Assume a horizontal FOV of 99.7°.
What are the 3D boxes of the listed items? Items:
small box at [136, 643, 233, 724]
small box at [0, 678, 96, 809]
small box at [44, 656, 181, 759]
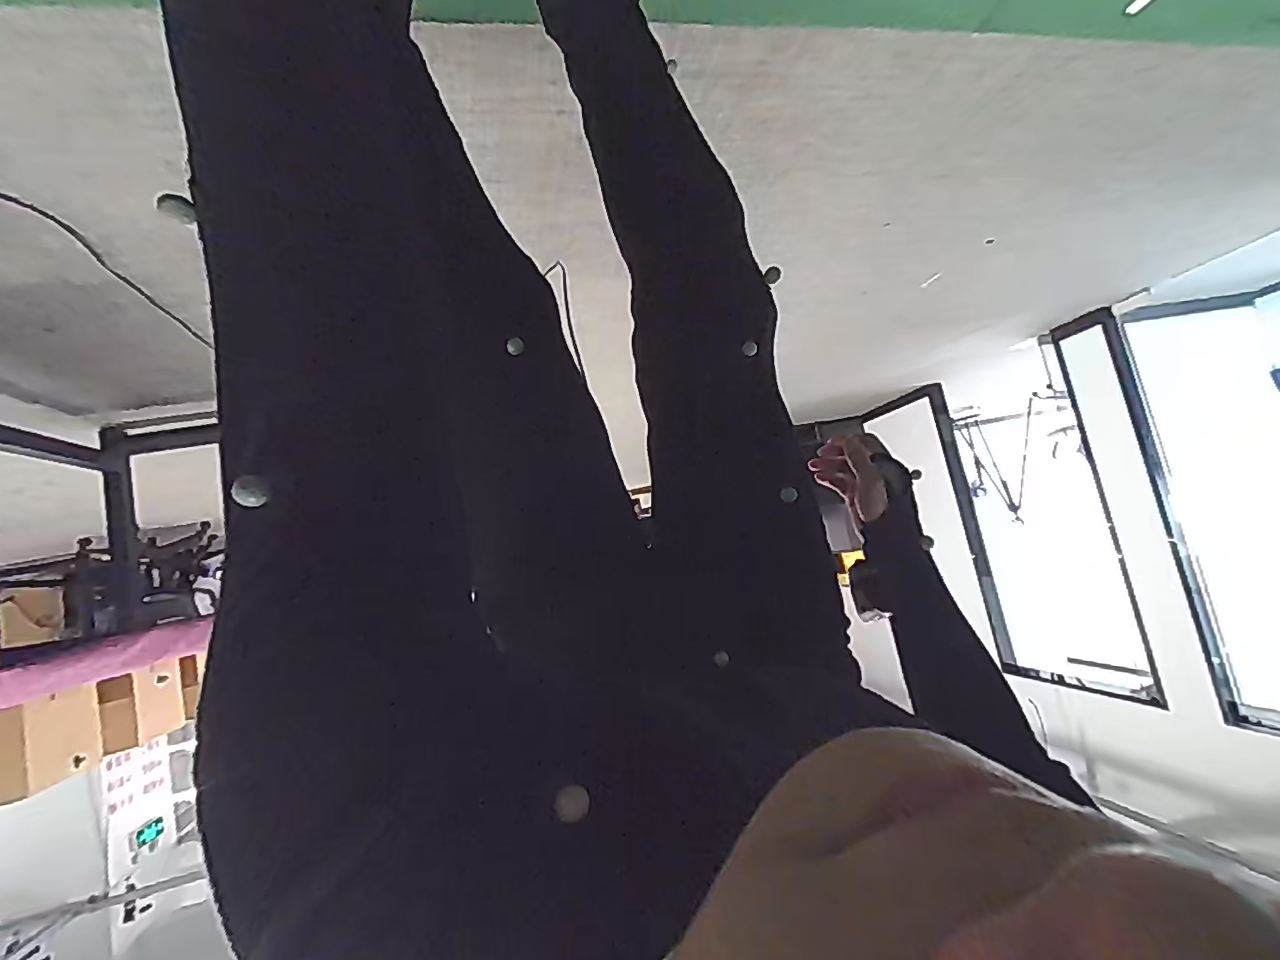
[{"bbox_3d":[-1.171,0.518,1.363,0.179,0.176,0.168,-10,173,-14],"label":"small box"},{"bbox_3d":[-1.069,0.443,0.900,0.179,0.176,0.168,-9,174,-15],"label":"small box"},{"bbox_3d":[-1.118,0.480,1.137,0.179,0.176,0.168,-11,174,-15],"label":"small box"}]
